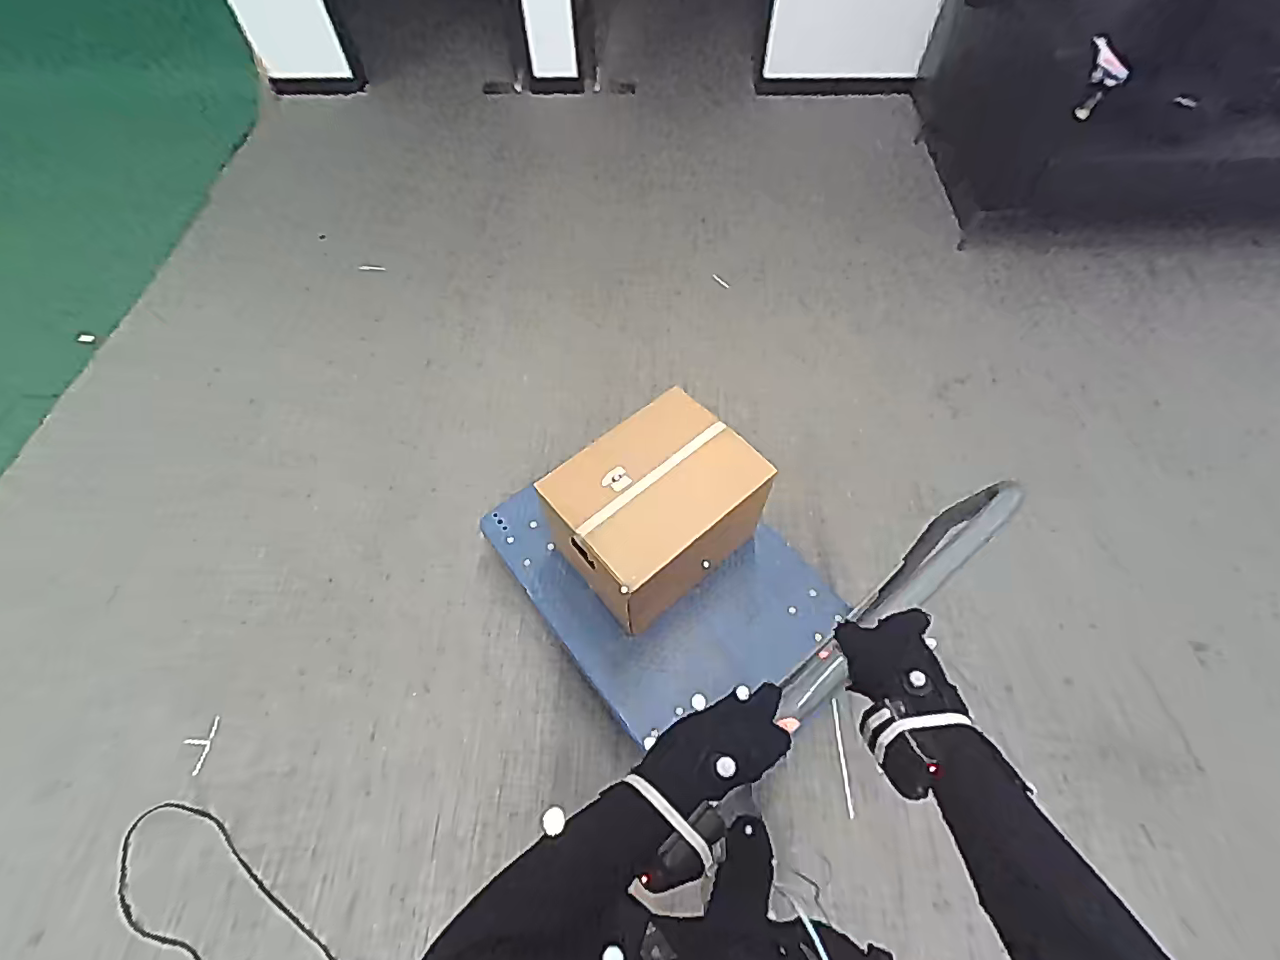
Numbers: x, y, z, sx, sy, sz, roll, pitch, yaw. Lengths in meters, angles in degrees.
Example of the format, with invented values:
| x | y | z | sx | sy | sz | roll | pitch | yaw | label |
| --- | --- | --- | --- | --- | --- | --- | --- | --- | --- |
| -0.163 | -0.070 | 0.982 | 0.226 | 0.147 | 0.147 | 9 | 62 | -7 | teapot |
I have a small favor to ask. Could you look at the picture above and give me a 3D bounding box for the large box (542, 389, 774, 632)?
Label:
| x | y | z | sx | sy | sz | roll | pitch | yaw | label |
| --- | --- | --- | --- | --- | --- | --- | --- | --- | --- |
| 0.044 | 0.074 | 1.252 | 0.408 | 0.320 | 0.320 | -39 | 65 | -19 | large box |
